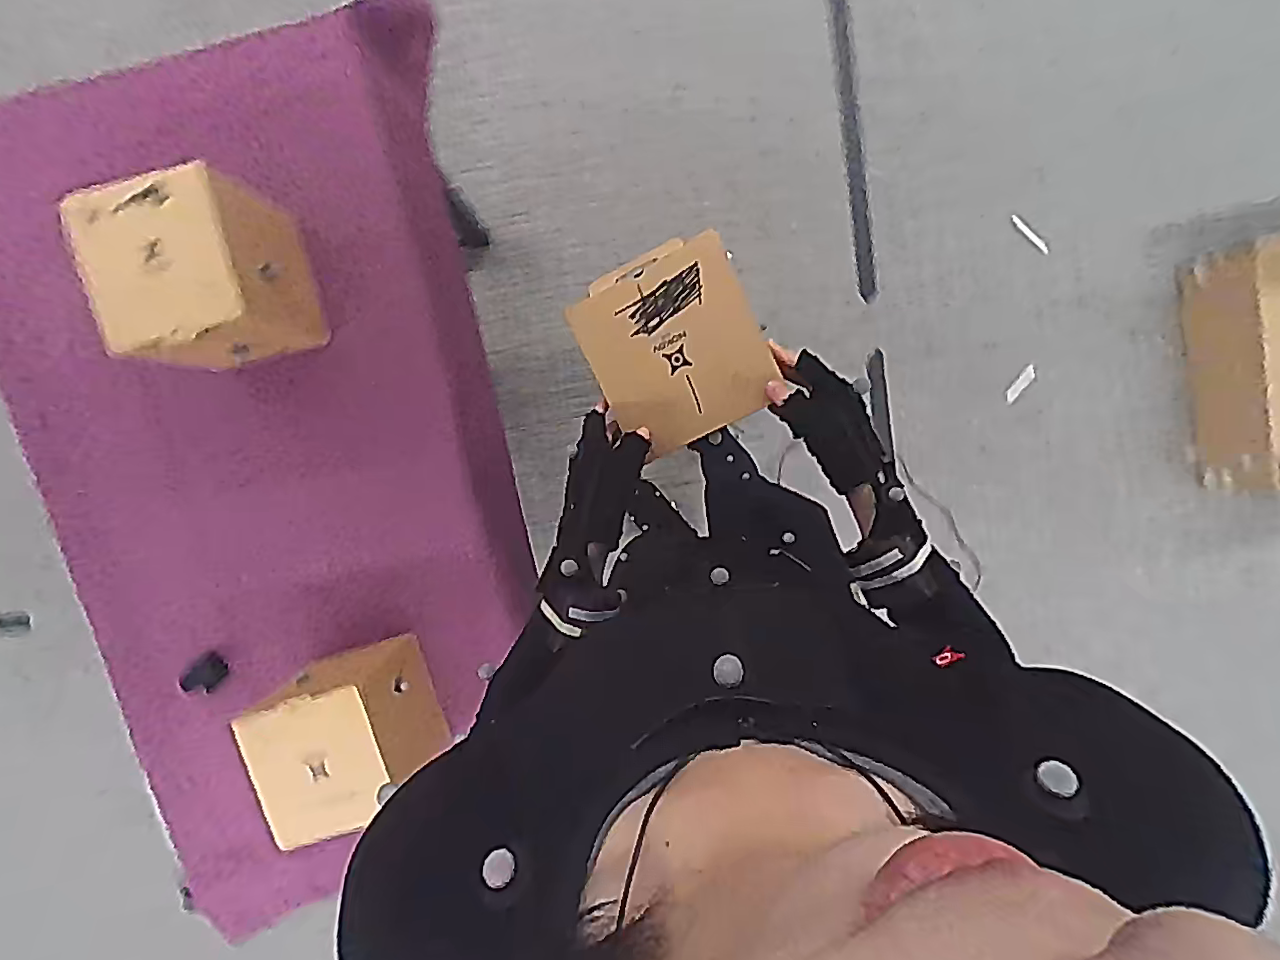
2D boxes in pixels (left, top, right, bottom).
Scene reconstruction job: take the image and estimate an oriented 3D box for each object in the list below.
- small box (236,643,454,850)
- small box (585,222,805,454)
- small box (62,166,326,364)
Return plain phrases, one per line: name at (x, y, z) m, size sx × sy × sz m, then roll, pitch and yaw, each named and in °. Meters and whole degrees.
small box at (-0.378, 0.338, 0.727) m, size 0.168 × 0.176 × 0.179 m, roll -18°, pitch 95°, yaw 3°
small box at (0.062, -0.141, 0.596) m, size 0.168 × 0.176 × 0.179 m, roll -23°, pitch 93°, yaw 12°
small box at (-0.534, -0.250, 0.678) m, size 0.168 × 0.176 × 0.179 m, roll -14°, pitch 96°, yaw 2°
